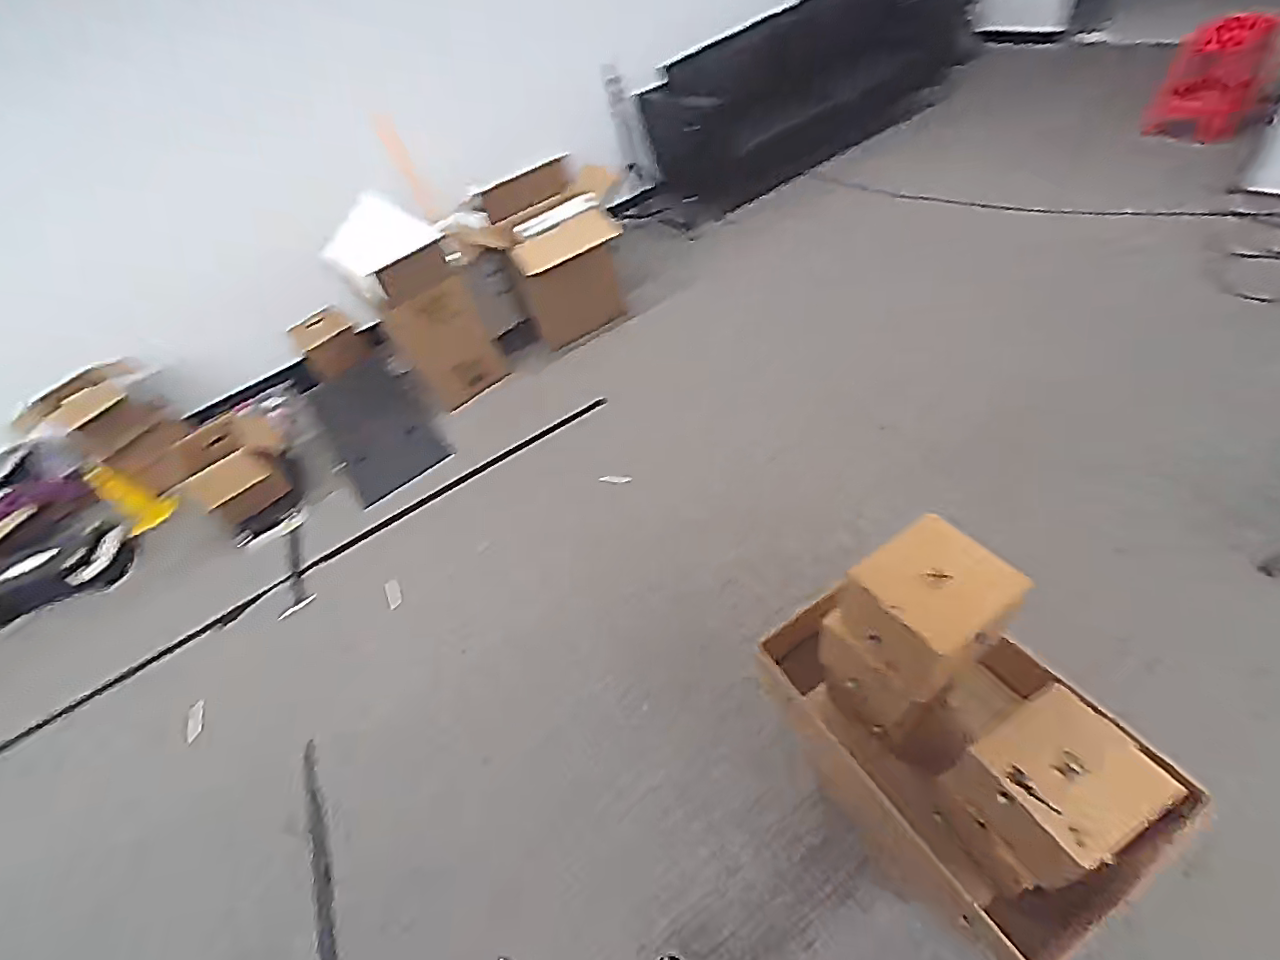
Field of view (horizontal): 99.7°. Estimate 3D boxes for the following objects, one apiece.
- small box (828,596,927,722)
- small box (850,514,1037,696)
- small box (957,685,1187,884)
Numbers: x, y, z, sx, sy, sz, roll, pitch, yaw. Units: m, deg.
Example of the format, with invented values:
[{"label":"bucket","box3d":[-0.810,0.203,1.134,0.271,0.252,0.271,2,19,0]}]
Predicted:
[{"label":"small box","box3d":[0.451,0.289,0.955,0.179,0.176,0.168,-34,49,-14]},{"label":"small box","box3d":[0.442,0.191,0.822,0.179,0.176,0.168,-32,49,-12]},{"label":"small box","box3d":[0.592,0.433,0.771,0.179,0.176,0.168,-28,46,-10]}]
